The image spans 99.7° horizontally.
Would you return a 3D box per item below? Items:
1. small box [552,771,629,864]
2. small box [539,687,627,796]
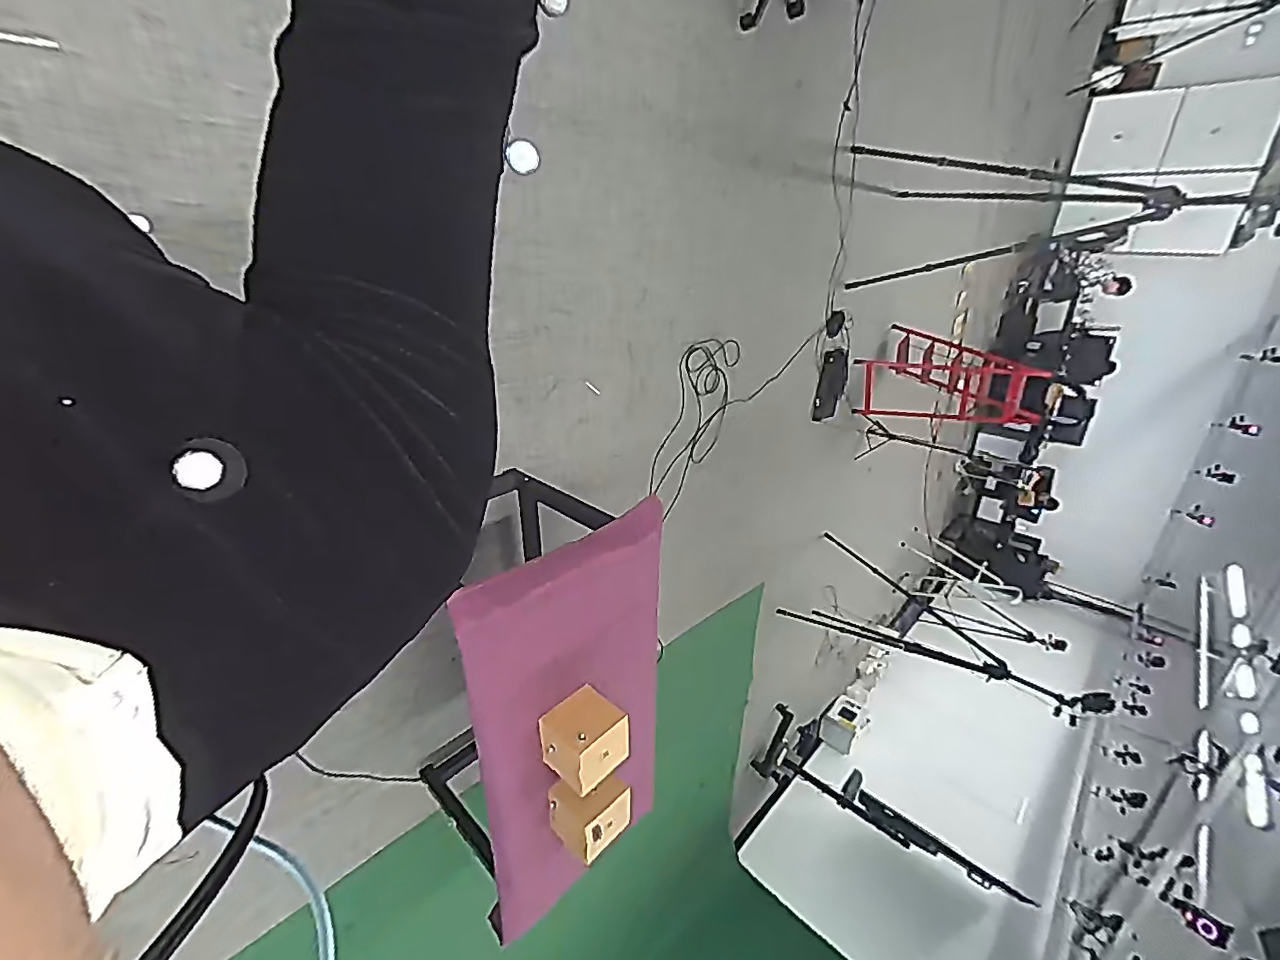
[{"bbox_3d":[-0.151,0.973,1.609,0.179,0.176,0.168,-23,122,-43],"label":"small box"},{"bbox_3d":[-0.154,0.710,1.491,0.179,0.176,0.168,-25,124,-40],"label":"small box"}]
